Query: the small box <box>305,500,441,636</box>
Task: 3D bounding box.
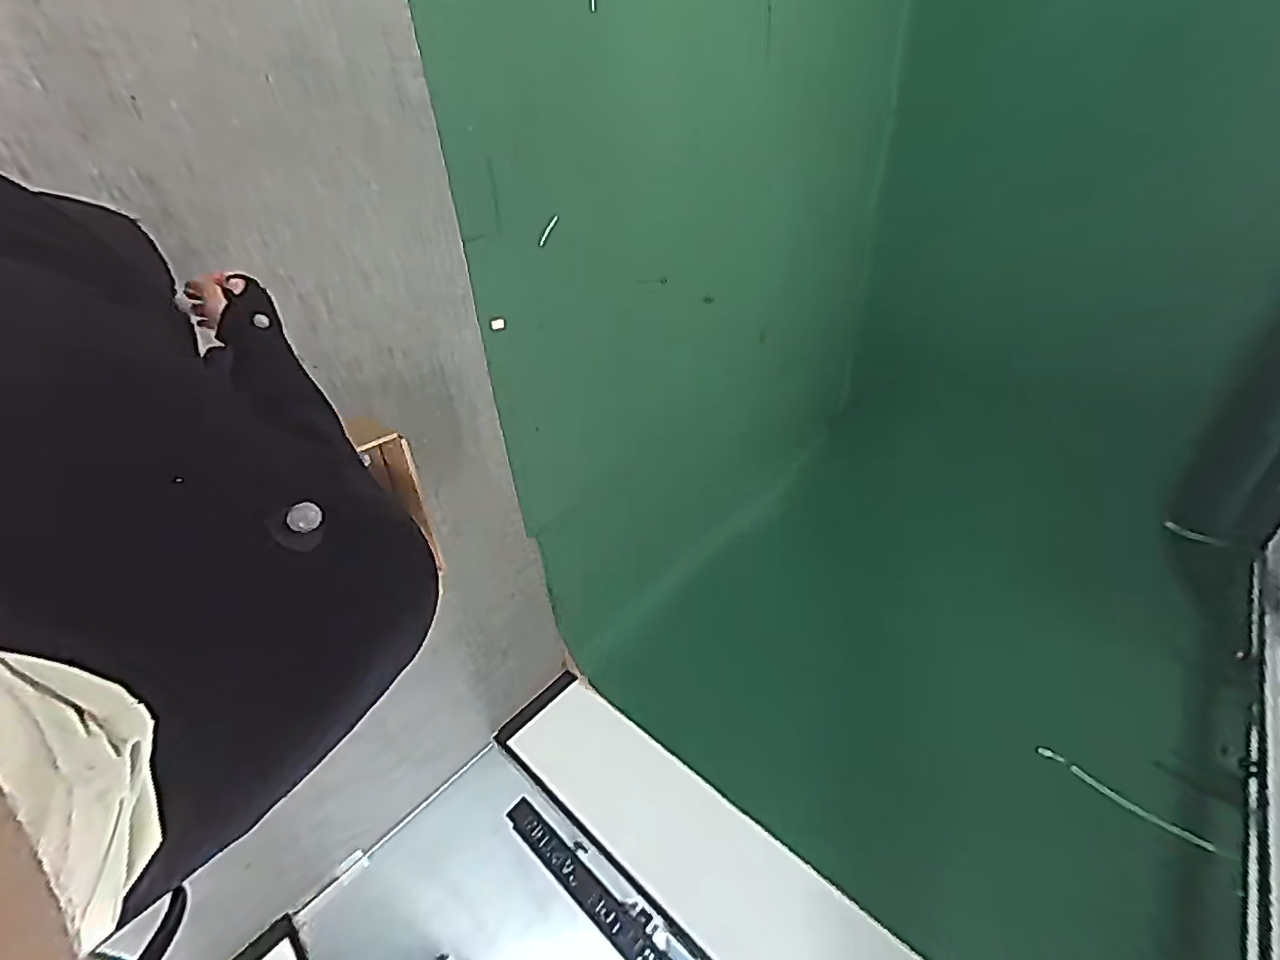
[{"bbox_3d":[-0.533,0.168,1.085,0.168,0.176,0.179,-32,133,-38],"label":"small box"}]
